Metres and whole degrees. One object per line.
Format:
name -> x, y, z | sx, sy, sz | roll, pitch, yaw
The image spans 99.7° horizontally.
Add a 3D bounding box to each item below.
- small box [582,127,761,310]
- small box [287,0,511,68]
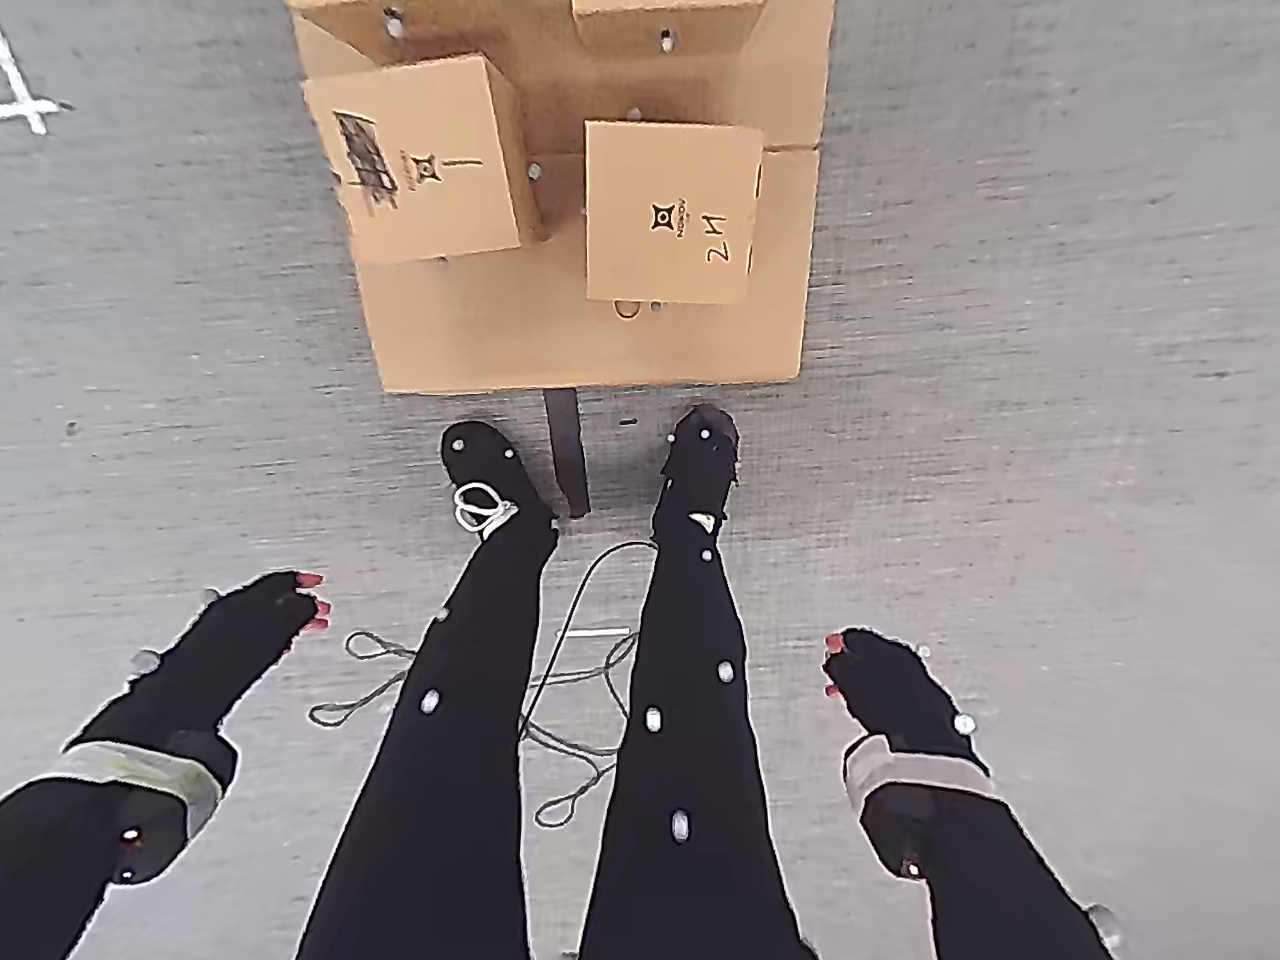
small box -> 0.029, -0.297, 0.630 | 0.179, 0.176, 0.168 | 2, 115, -1
small box -> -0.234, -0.526, 0.523 | 0.179, 0.176, 0.168 | -5, 115, 4
